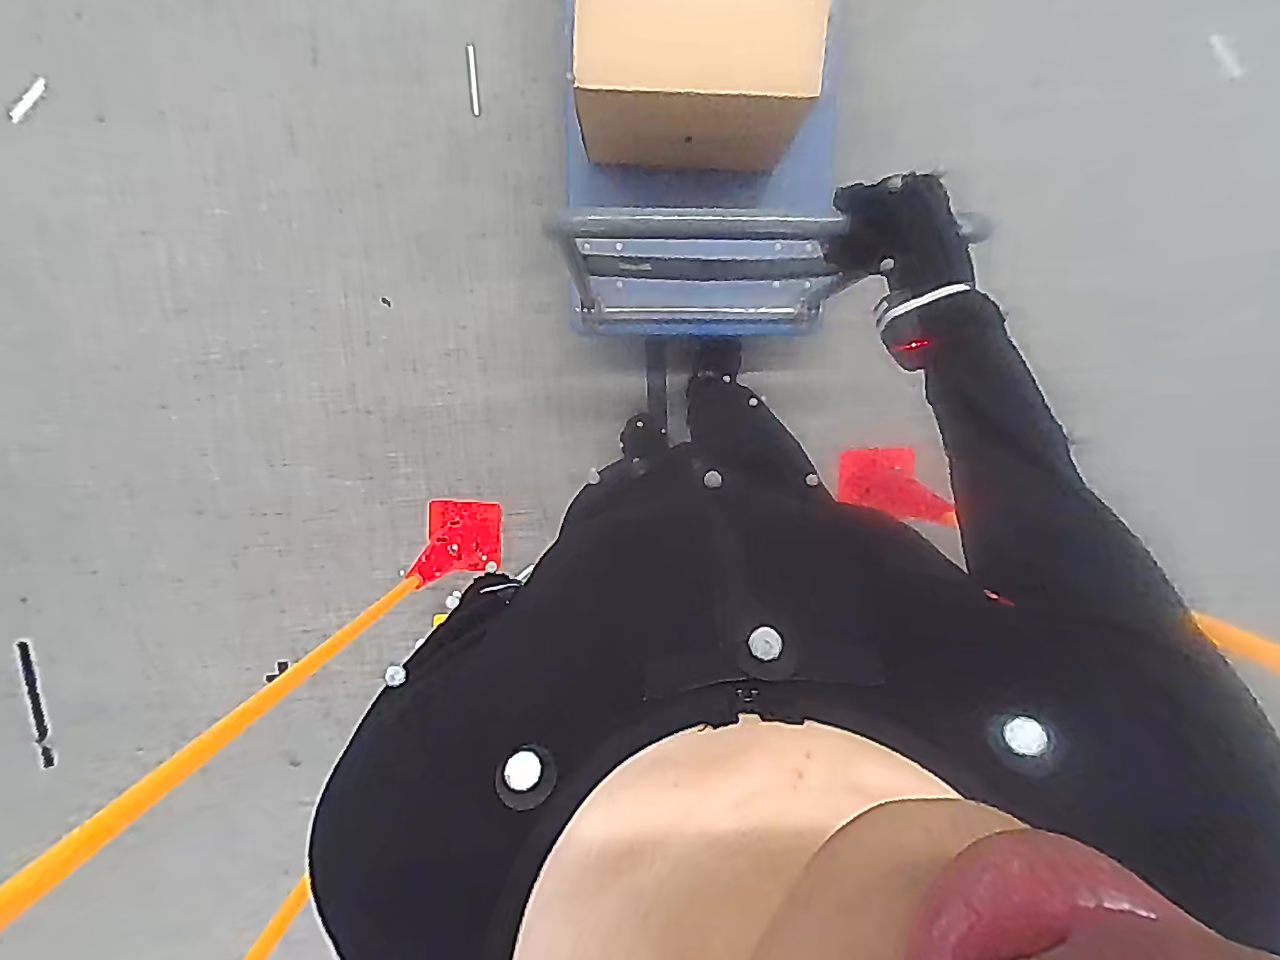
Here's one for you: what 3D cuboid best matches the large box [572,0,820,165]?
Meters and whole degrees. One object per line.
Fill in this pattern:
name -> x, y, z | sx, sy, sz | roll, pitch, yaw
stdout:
large box -> 0.093, -0.807, 1.004 | 0.408, 0.320, 0.320 | 2, 100, 0

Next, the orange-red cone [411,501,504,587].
orange-red cone -> -0.474, 0.183, 1.323 | 0.198, 0.360, 0.199 | 4, 98, -1

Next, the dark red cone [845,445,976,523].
dark red cone -> 0.650, 0.038, 1.274 | 0.201, 0.394, 0.202 | -4, 100, -1
